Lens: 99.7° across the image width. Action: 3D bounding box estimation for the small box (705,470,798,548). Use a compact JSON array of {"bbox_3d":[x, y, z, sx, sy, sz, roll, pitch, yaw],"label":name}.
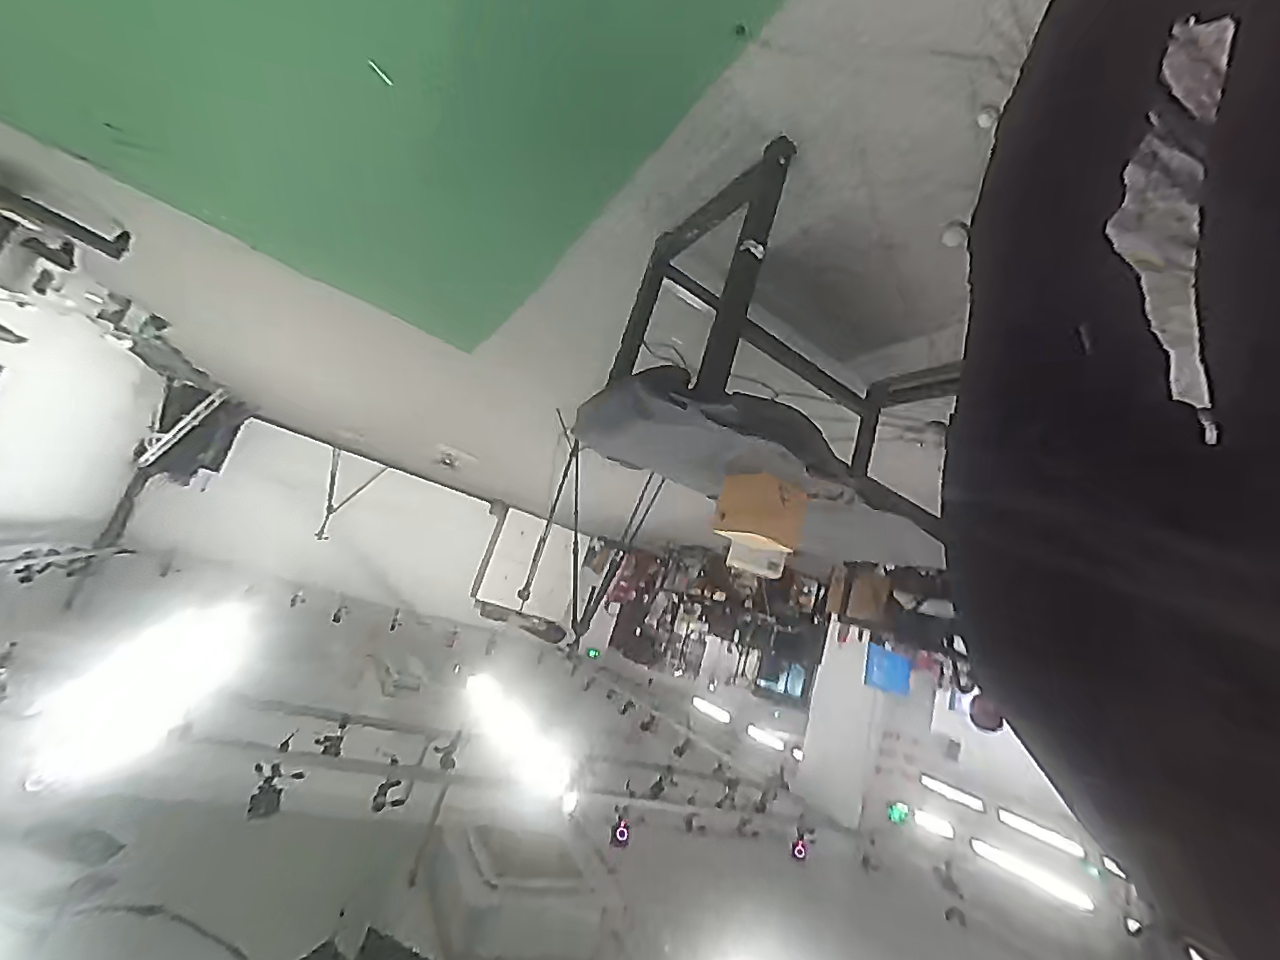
[{"bbox_3d":[0.313,0.080,1.502,0.168,0.176,0.179,24,165,-29],"label":"small box"}]
